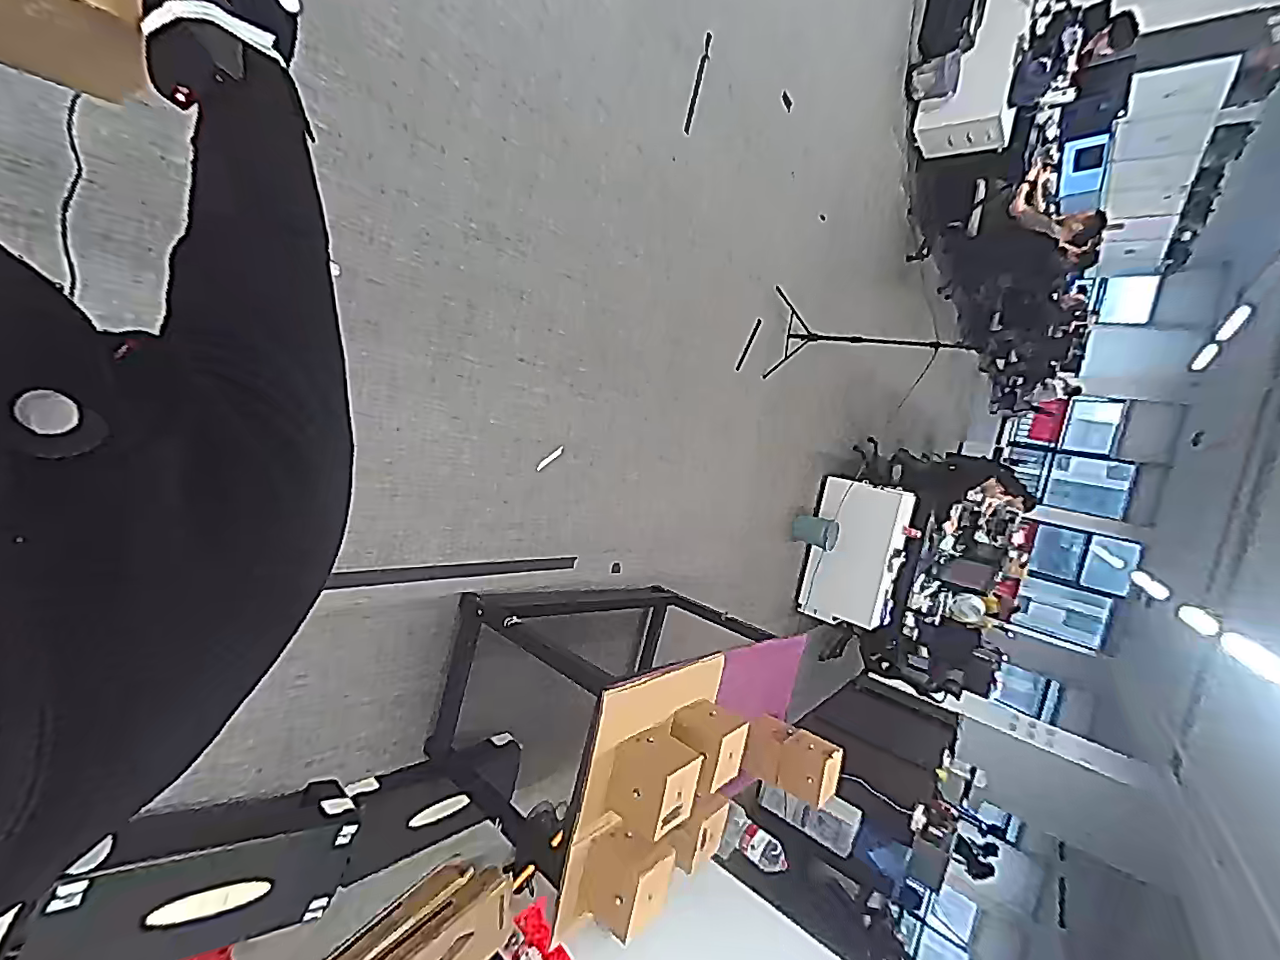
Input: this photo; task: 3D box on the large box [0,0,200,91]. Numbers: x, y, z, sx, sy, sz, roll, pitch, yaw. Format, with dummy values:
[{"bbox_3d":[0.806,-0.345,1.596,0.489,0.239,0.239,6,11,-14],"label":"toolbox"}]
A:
[{"bbox_3d":[-0.554,-0.508,0.314,0.408,0.320,0.320,-6,112,-53],"label":"large box"}]
